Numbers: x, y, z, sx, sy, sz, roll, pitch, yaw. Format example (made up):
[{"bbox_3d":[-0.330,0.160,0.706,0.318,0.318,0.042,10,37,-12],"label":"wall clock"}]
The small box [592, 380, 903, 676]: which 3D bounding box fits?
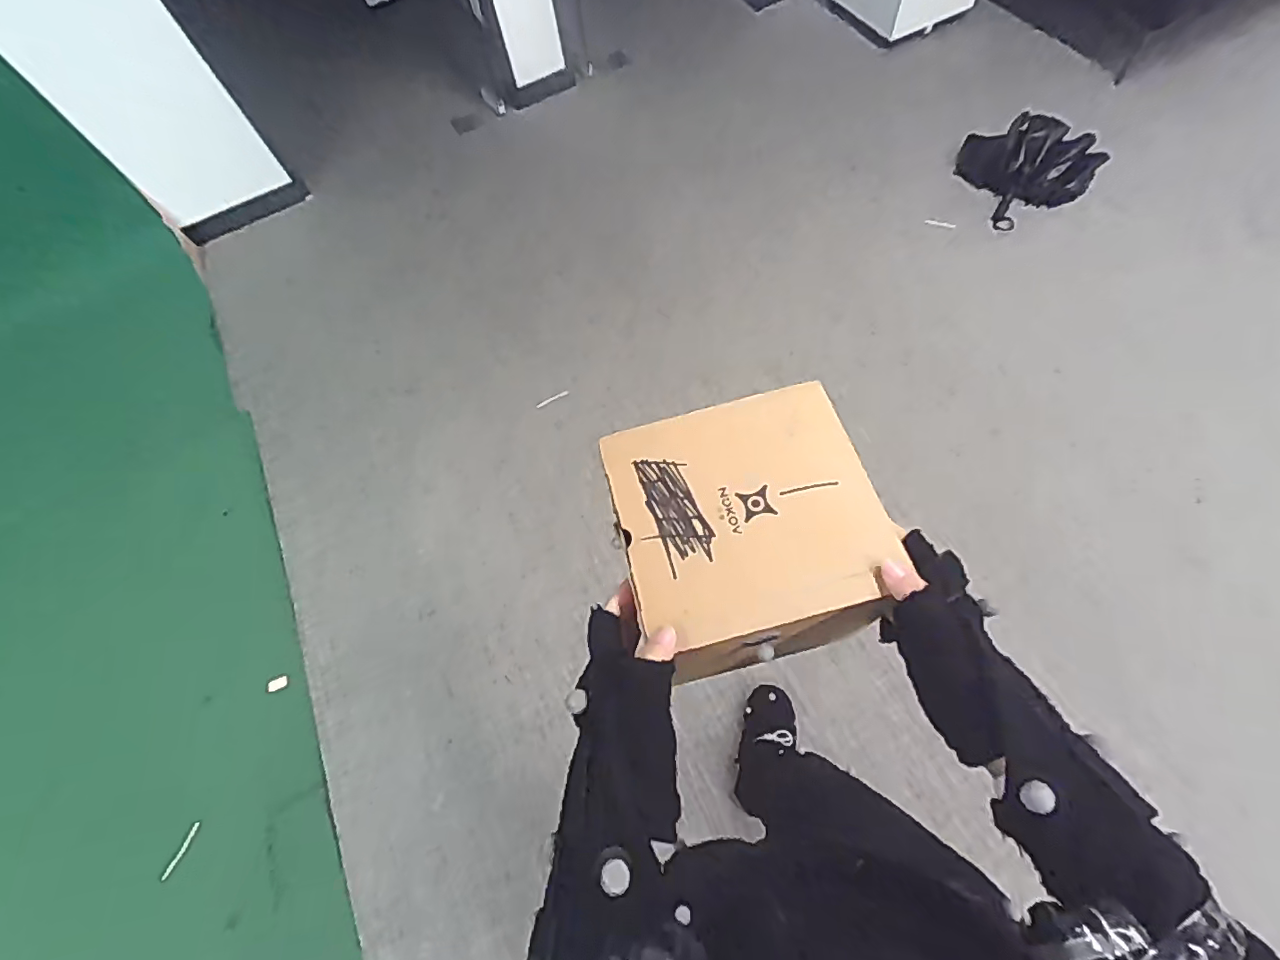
[{"bbox_3d":[0.075,0.052,0.441,0.179,0.176,0.168,-15,63,0],"label":"small box"}]
